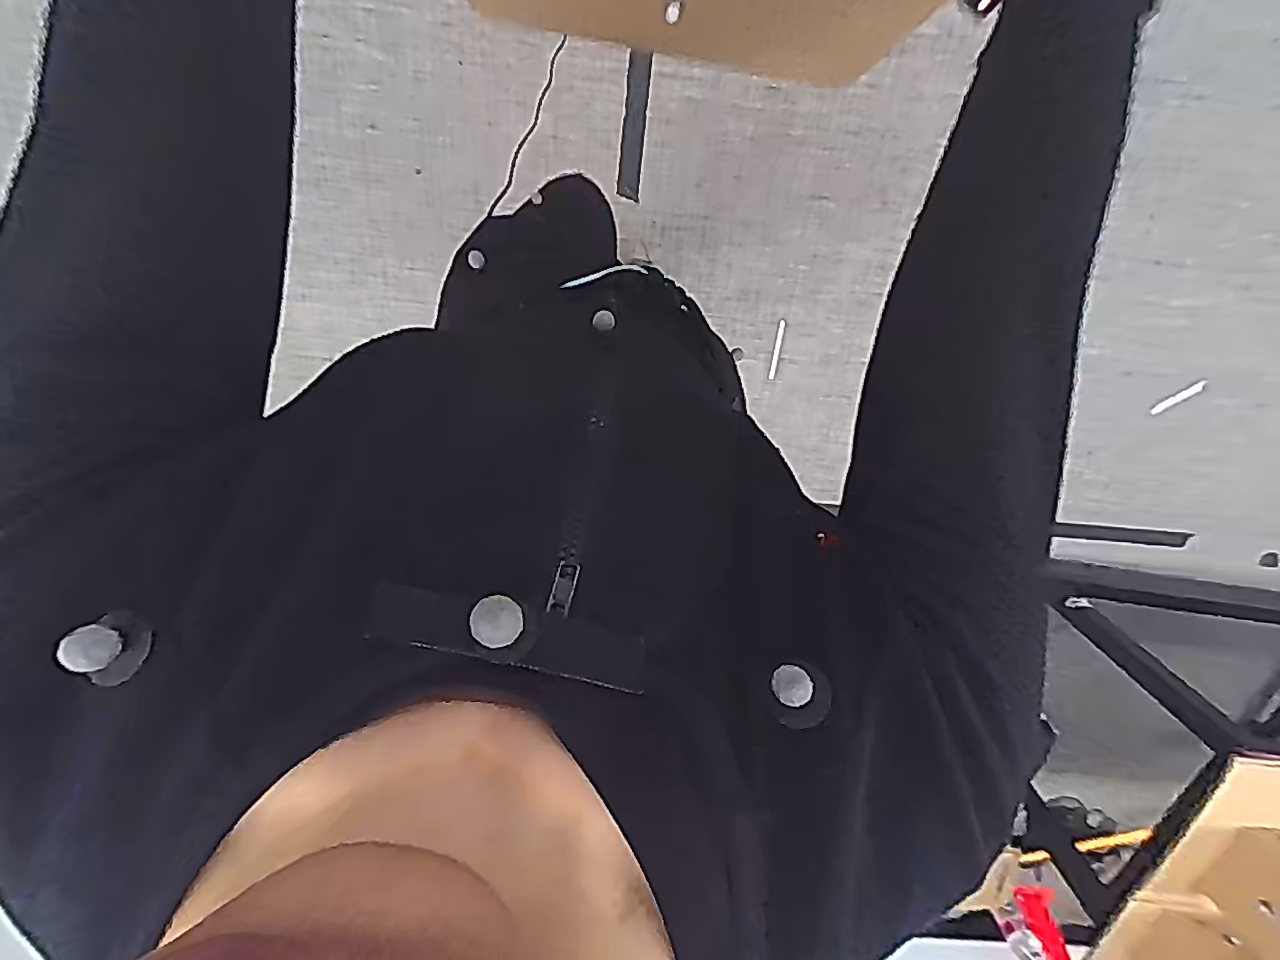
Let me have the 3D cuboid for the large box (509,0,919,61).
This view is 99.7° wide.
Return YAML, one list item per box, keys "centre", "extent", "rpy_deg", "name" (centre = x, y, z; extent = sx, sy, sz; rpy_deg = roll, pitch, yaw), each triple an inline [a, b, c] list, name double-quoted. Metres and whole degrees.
- centre: [0.058, -0.558, 0.383]
  extent: [0.408, 0.320, 0.320]
  rpy_deg: [9, 111, -3]
  name: "large box"
